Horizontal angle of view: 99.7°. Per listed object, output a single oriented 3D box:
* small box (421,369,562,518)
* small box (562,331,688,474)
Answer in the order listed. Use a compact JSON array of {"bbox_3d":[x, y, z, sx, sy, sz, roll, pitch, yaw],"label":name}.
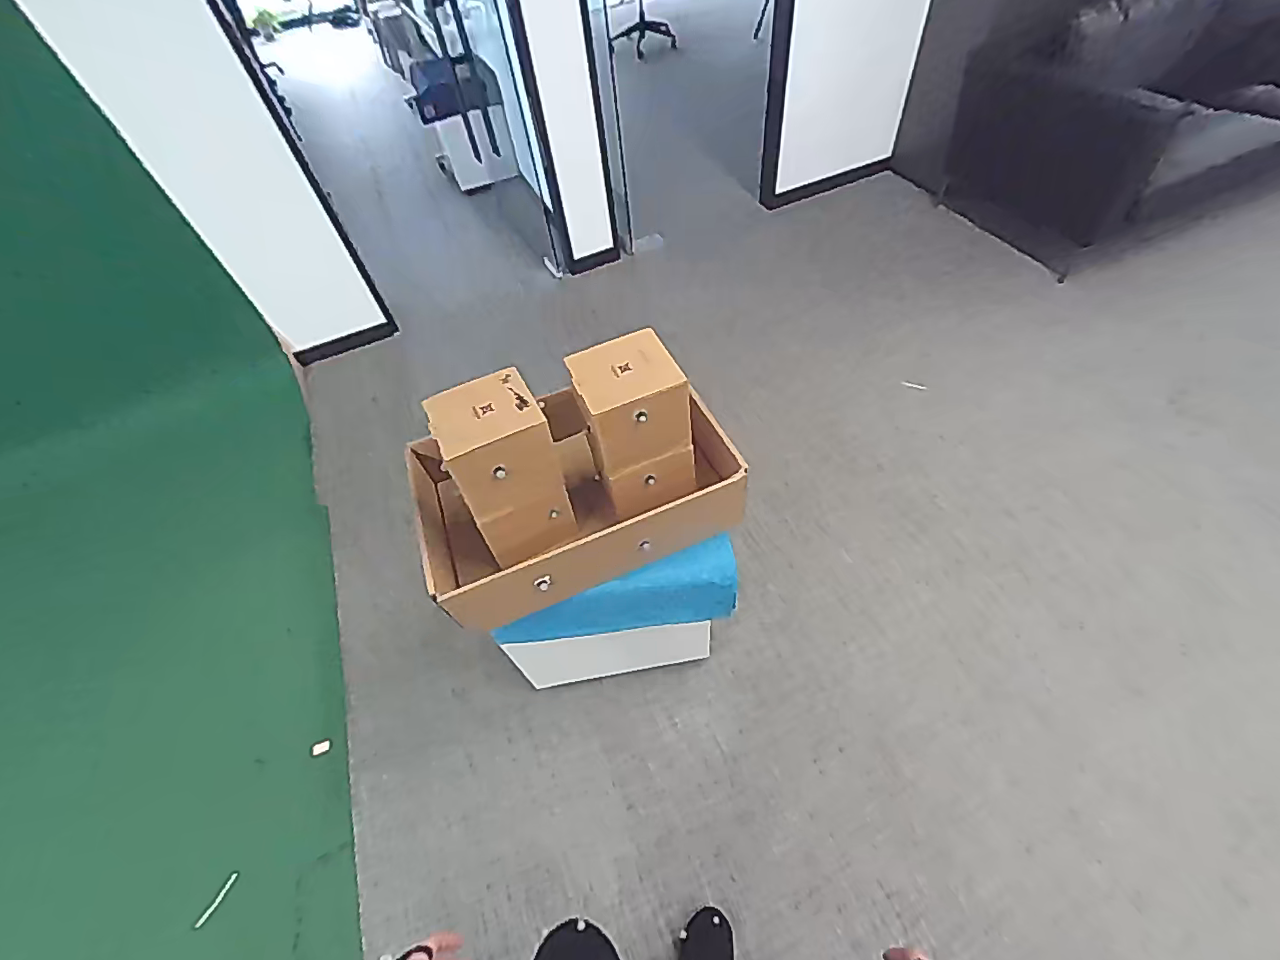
[{"bbox_3d":[-0.259,-0.060,0.965,0.179,0.176,0.168,-25,54,-13],"label":"small box"},{"bbox_3d":[-0.023,-0.137,0.993,0.179,0.176,0.168,-21,52,-8],"label":"small box"}]
